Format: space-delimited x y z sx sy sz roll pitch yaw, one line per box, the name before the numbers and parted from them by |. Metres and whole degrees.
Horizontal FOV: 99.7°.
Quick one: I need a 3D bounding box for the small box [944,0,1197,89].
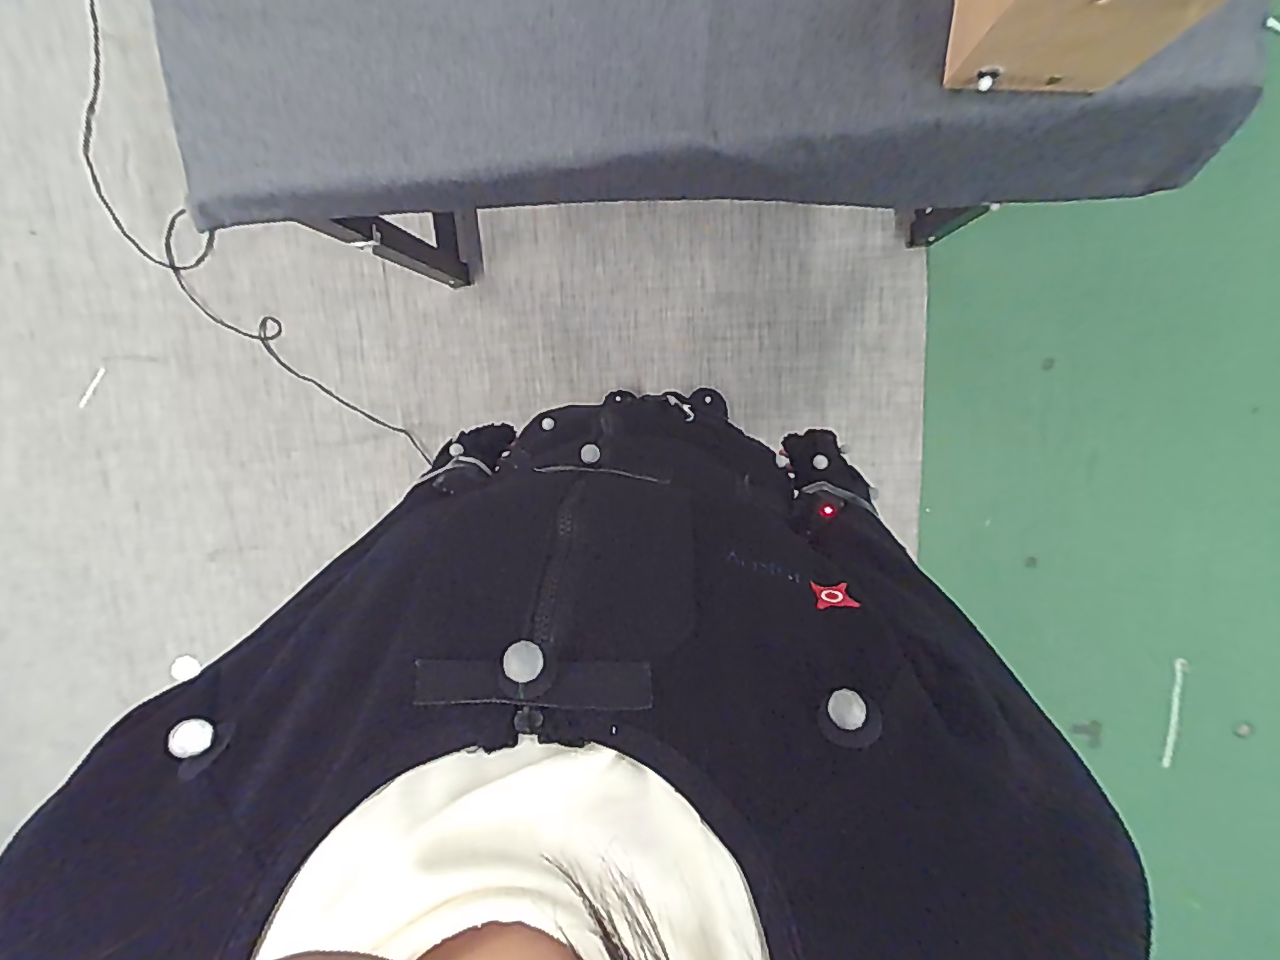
small box | 0.408 -0.497 0.497 0.168 0.176 0.179 5 99 4
